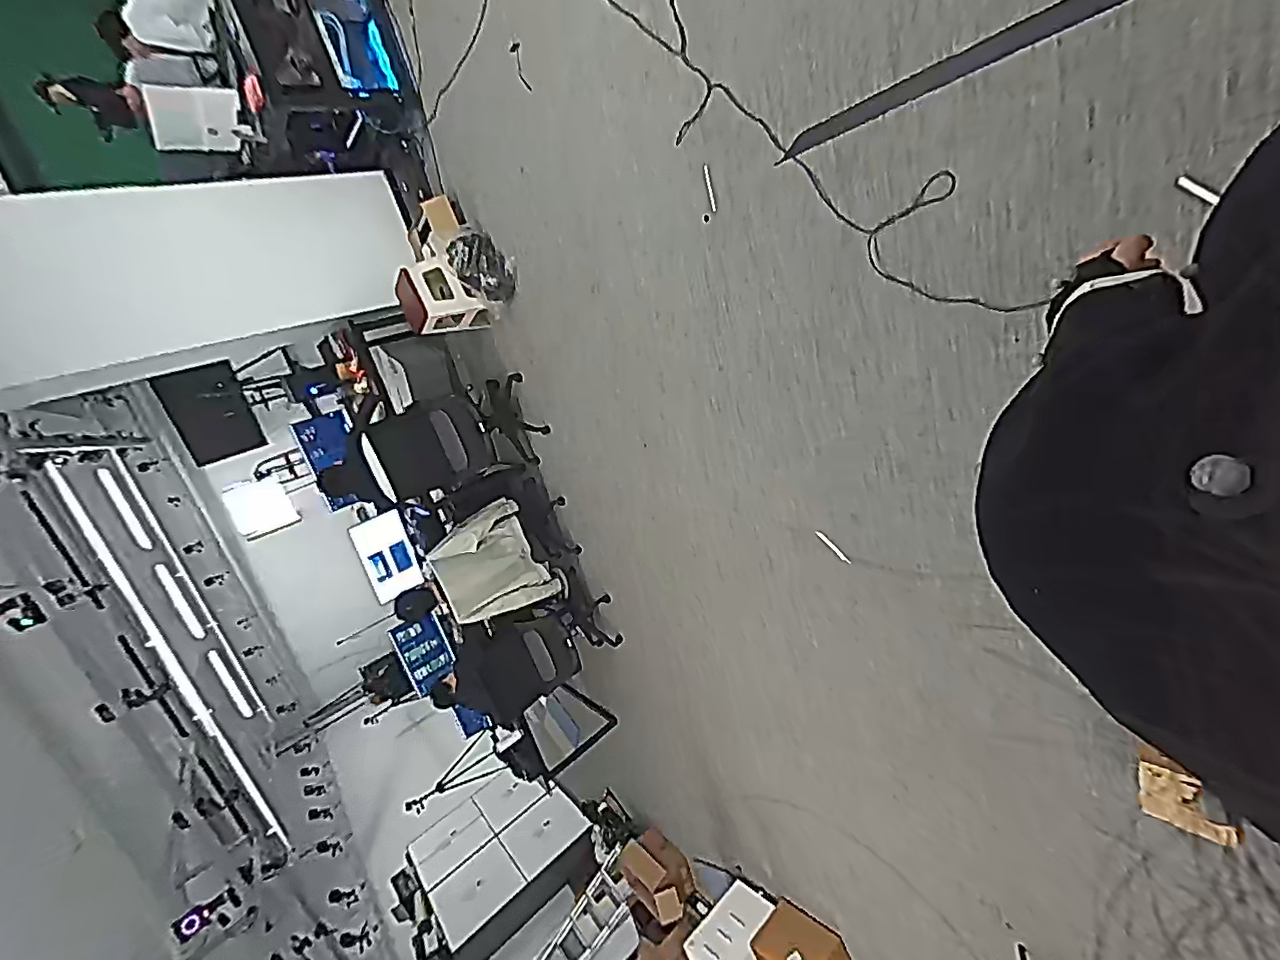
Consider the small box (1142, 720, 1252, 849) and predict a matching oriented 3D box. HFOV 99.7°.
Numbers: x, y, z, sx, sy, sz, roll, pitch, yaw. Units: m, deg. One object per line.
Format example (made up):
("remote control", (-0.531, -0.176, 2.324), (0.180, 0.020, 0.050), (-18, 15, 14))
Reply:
("small box", (1.360, 0.731, 1.319), (0.168, 0.176, 0.179), (5, 118, 53))
